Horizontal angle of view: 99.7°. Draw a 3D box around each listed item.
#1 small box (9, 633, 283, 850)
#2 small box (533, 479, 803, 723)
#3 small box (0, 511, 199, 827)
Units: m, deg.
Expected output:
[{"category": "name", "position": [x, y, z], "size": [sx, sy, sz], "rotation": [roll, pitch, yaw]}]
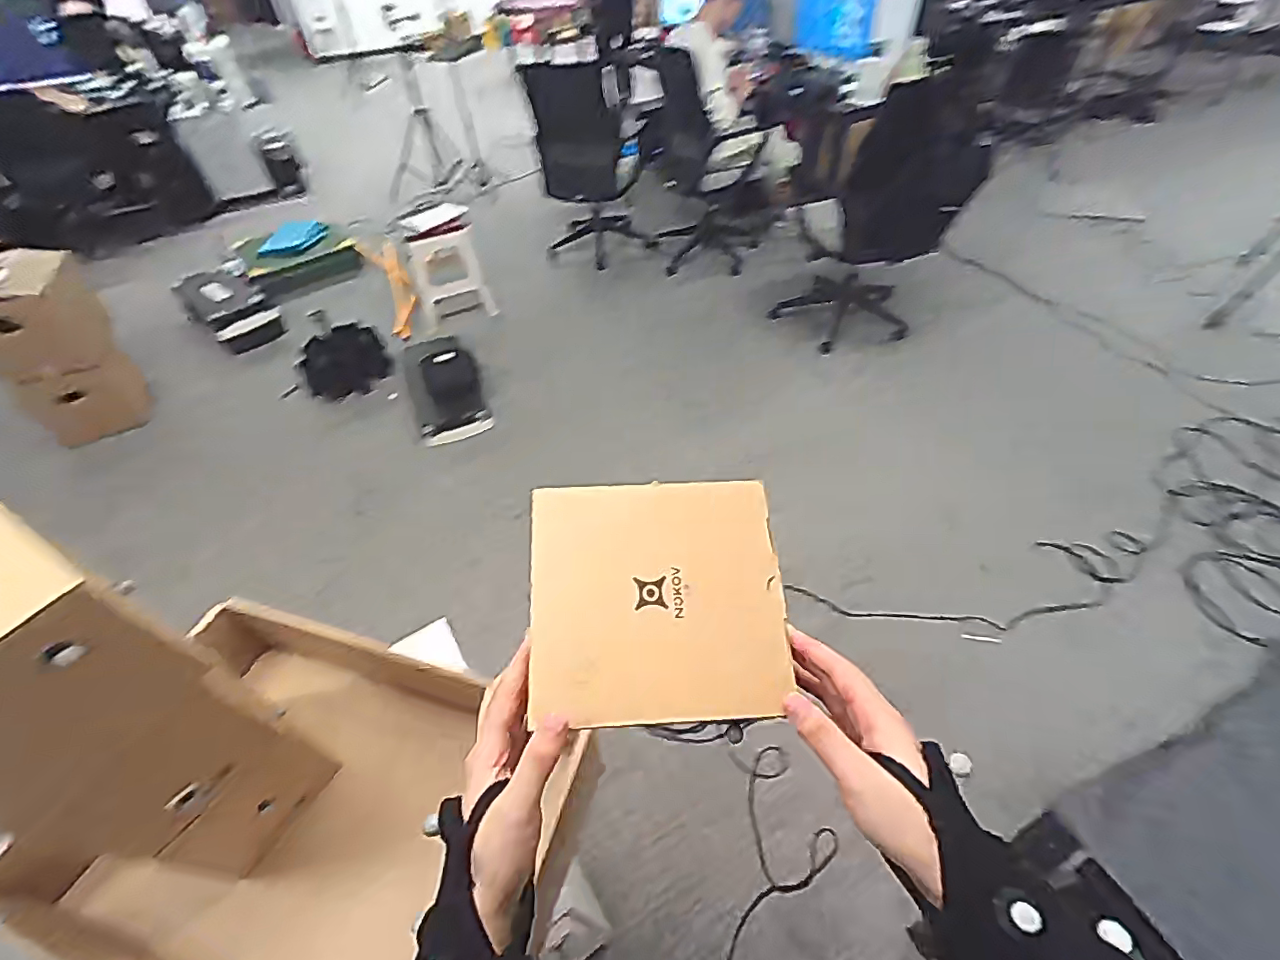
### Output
[{"category": "small box", "position": [-0.556, 0.276, 0.603], "size": [0.179, 0.176, 0.168], "rotation": [26, 56, 23]}, {"category": "small box", "position": [0.016, 0.109, 0.449], "size": [0.179, 0.176, 0.168], "rotation": [-1, 66, -2]}, {"category": "small box", "position": [-0.548, 0.165, 0.479], "size": [0.168, 0.176, 0.179], "rotation": [22, 55, 23]}]
